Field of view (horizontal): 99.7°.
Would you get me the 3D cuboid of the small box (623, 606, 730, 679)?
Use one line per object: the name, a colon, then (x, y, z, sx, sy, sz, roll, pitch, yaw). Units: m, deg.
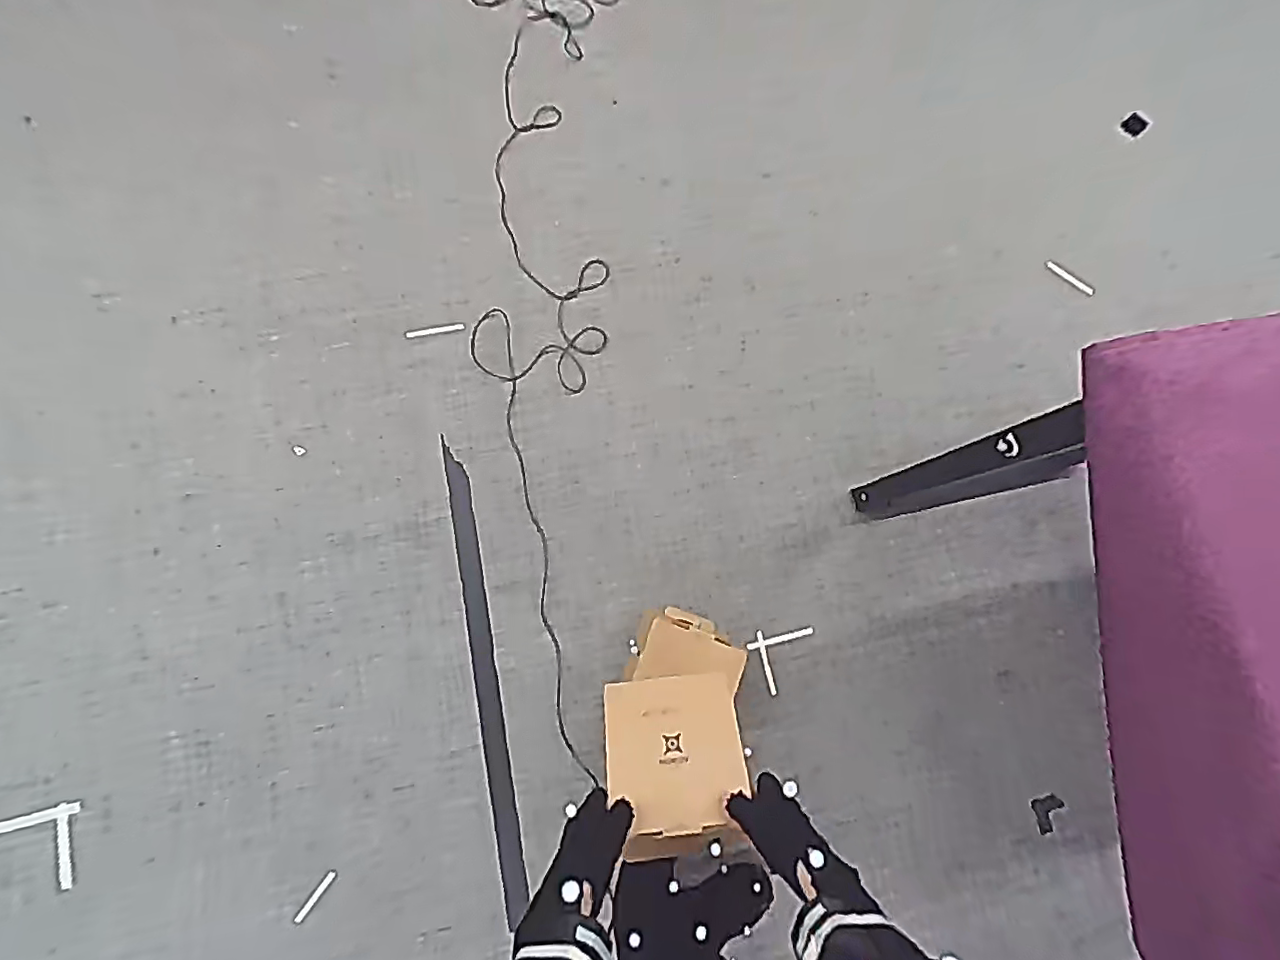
small box: (0.065, 0.363, 1.095, 0.168, 0.176, 0.179, 19, 80, 2)

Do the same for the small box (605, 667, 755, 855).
small box: (0.048, 0.370, 0.705, 0.168, 0.176, 0.179, -7, 46, 0)

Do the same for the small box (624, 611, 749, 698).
small box: (0.068, 0.336, 0.933, 0.168, 0.176, 0.179, 21, 79, 2)
